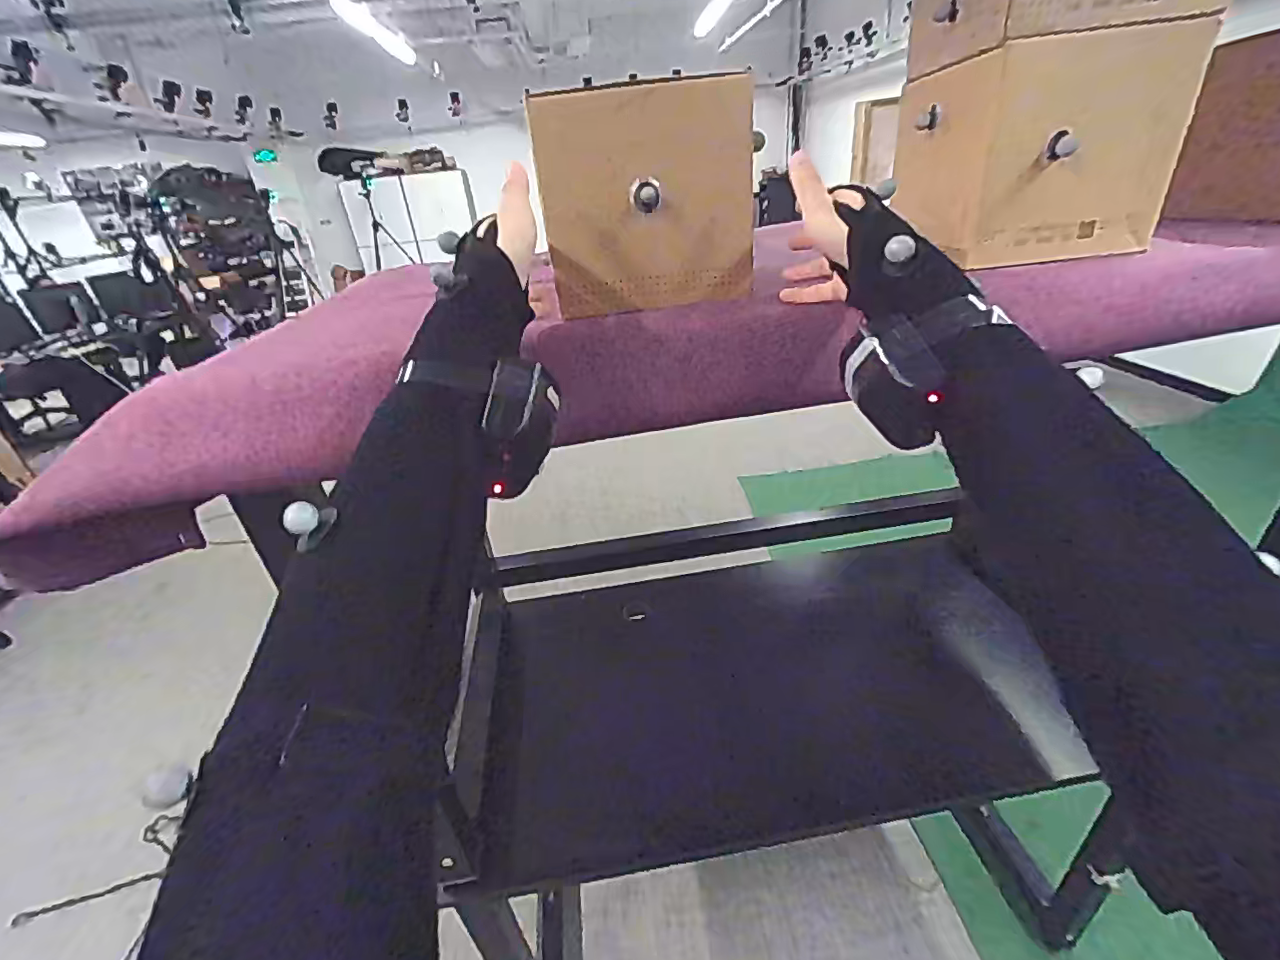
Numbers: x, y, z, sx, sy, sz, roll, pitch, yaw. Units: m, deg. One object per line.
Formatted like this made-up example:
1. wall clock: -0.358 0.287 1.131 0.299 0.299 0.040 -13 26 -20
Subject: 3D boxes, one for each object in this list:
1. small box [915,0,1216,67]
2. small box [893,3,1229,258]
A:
1. small box: 0.350 -0.456 0.437 0.168 0.176 0.179 -5 29 2
2. small box: 0.364 -0.311 0.513 0.168 0.176 0.179 -5 28 1
